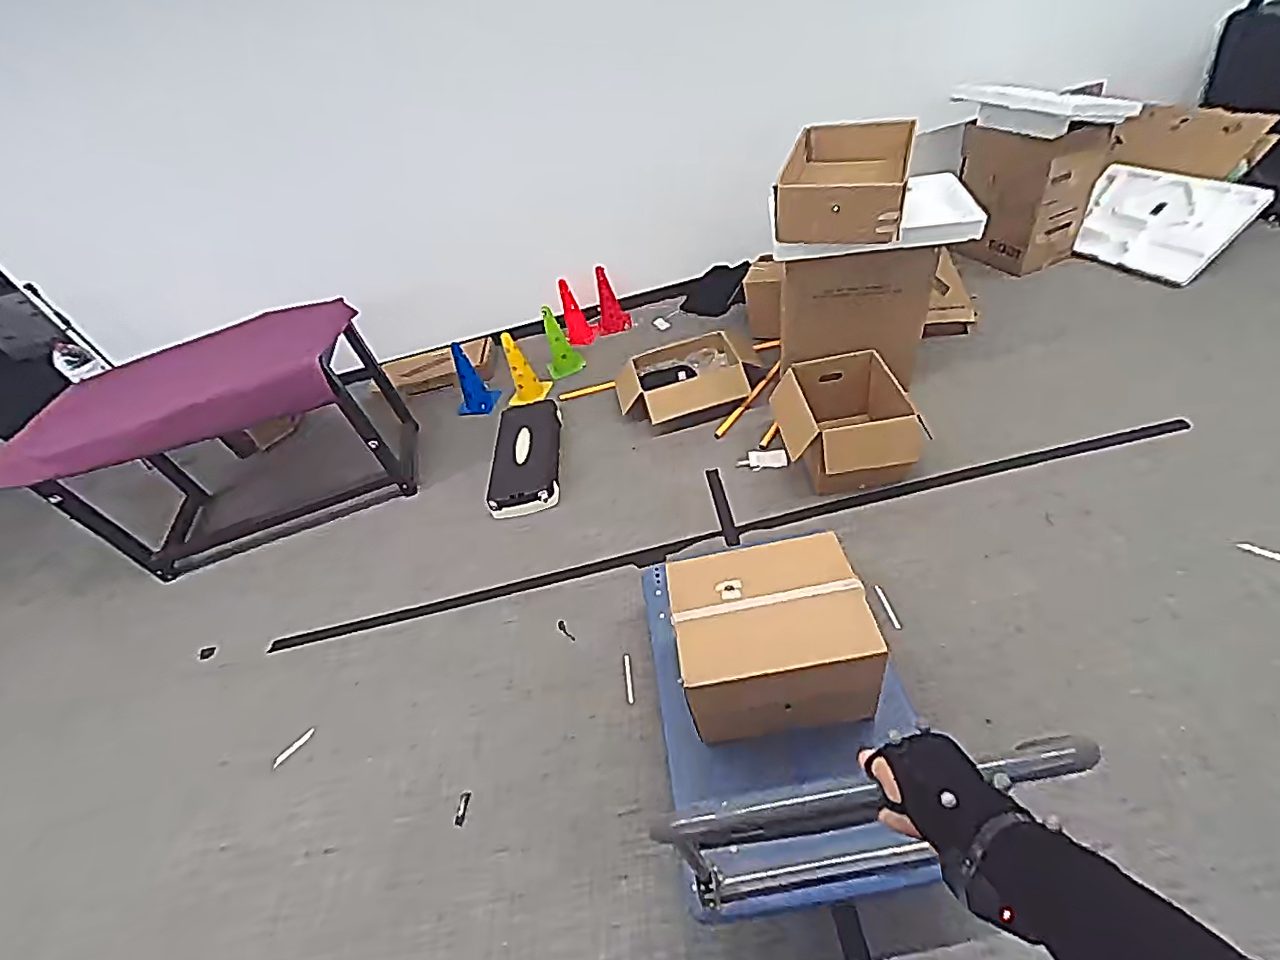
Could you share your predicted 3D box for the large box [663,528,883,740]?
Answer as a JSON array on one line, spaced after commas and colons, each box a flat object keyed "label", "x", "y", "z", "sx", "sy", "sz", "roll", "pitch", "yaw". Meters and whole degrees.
[{"label": "large box", "x": 0.295, "y": 0.362, "z": 1.257, "sx": 0.408, "sy": 0.320, "sz": 0.320, "roll": -13, "pitch": 42, "yaw": 5}]
